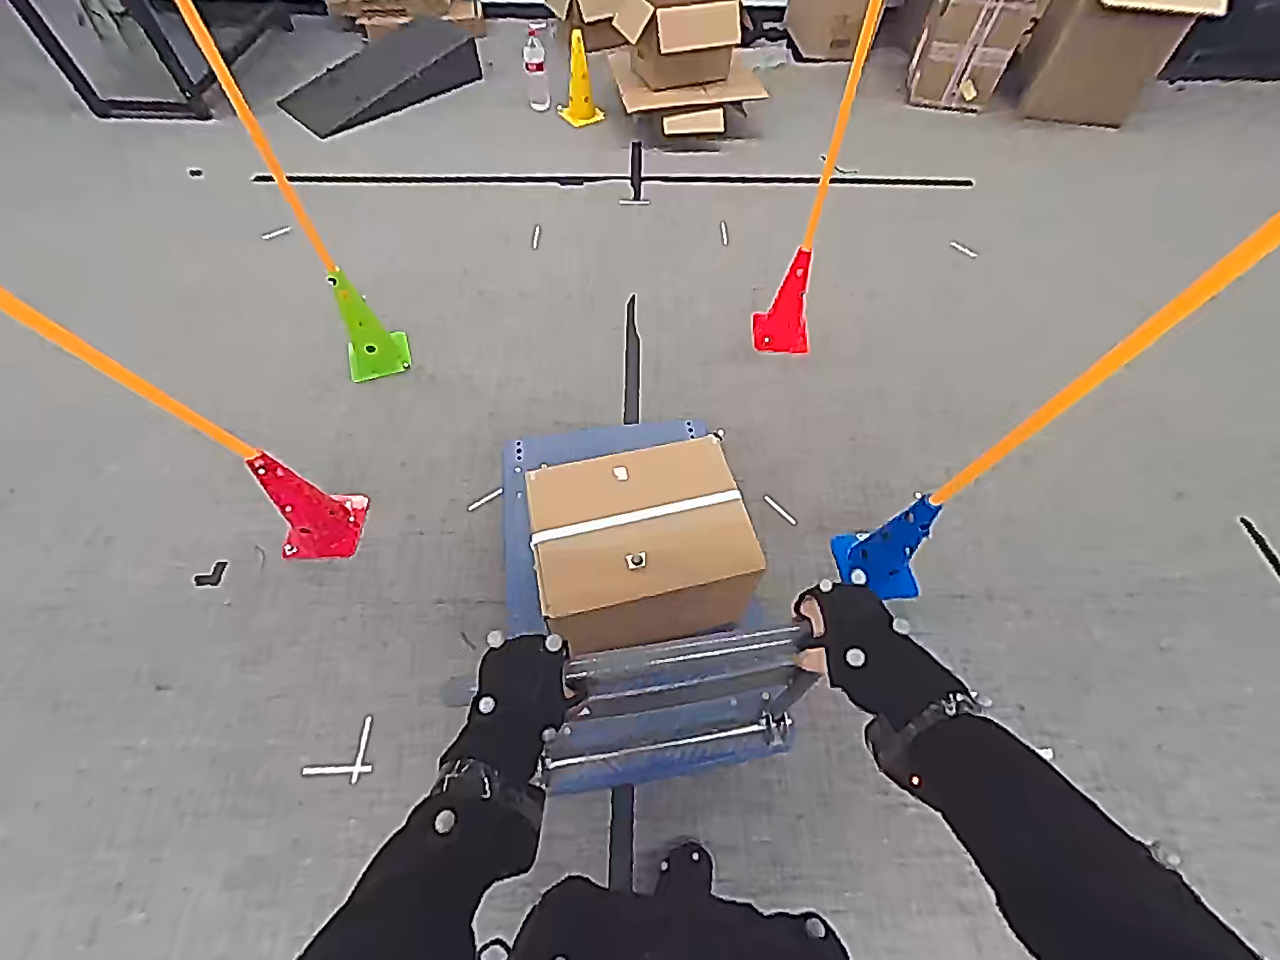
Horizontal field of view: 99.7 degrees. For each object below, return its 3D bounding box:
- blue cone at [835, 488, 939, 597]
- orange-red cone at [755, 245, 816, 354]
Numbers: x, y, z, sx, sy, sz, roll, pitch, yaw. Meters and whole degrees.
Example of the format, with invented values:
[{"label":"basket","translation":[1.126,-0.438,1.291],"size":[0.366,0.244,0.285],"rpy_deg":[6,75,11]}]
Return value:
[{"label":"blue cone","translation":[0.657,0.143,1.368],"size":[0.193,0.380,0.192],"rpy_deg":[-3,57,-3]},{"label":"orange-red cone","translation":[0.528,-0.630,1.833],"size":[0.199,0.360,0.198],"rpy_deg":[7,59,2]}]
